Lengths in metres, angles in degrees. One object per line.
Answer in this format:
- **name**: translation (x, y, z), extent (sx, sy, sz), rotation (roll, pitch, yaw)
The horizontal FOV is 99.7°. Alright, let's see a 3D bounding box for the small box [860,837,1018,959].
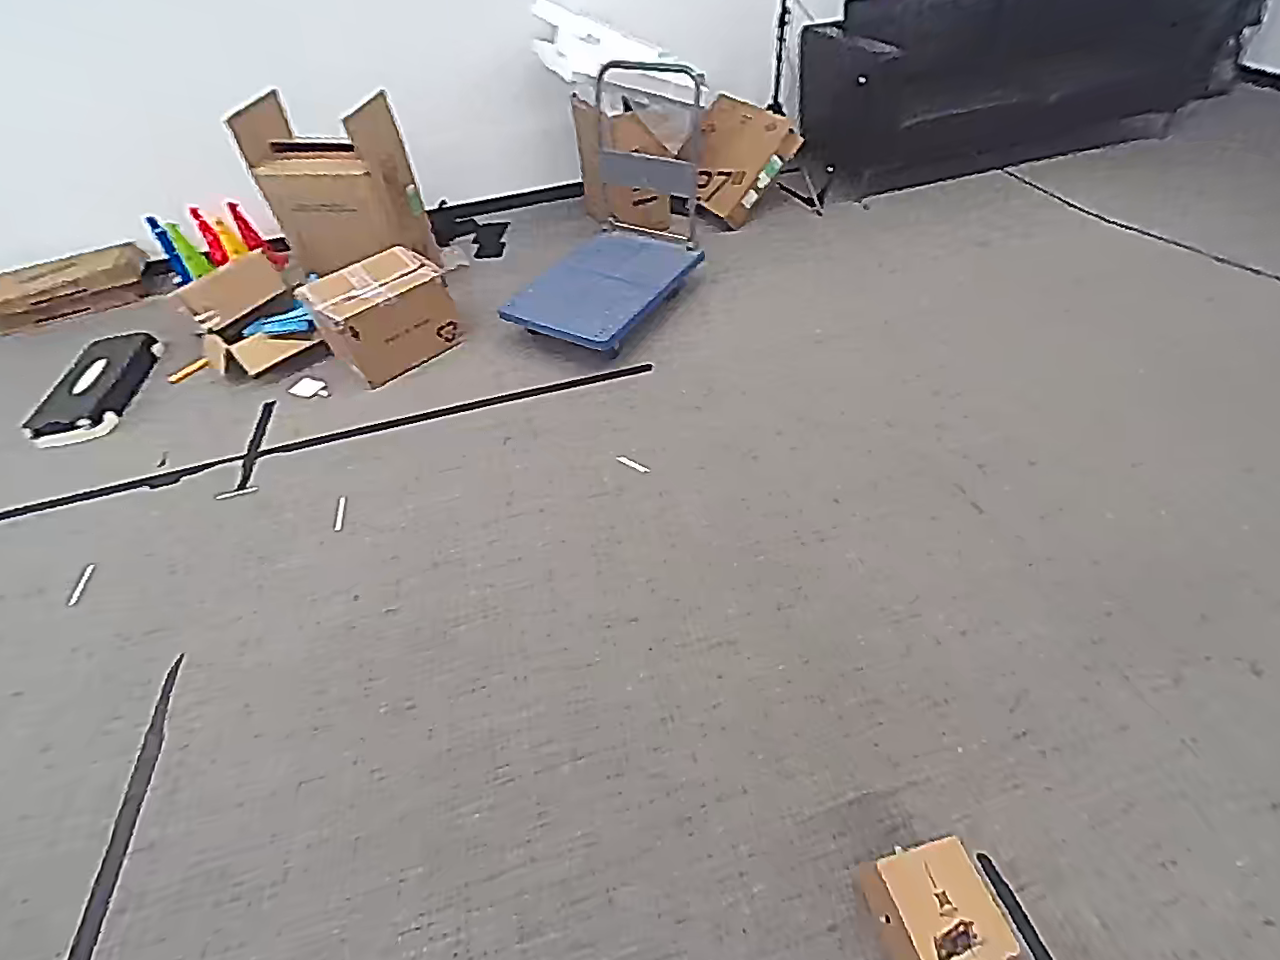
- **small box**: translation (0.533, 0.792, 0.994), extent (0.168, 0.176, 0.179), rotation (-13, 47, -6)
